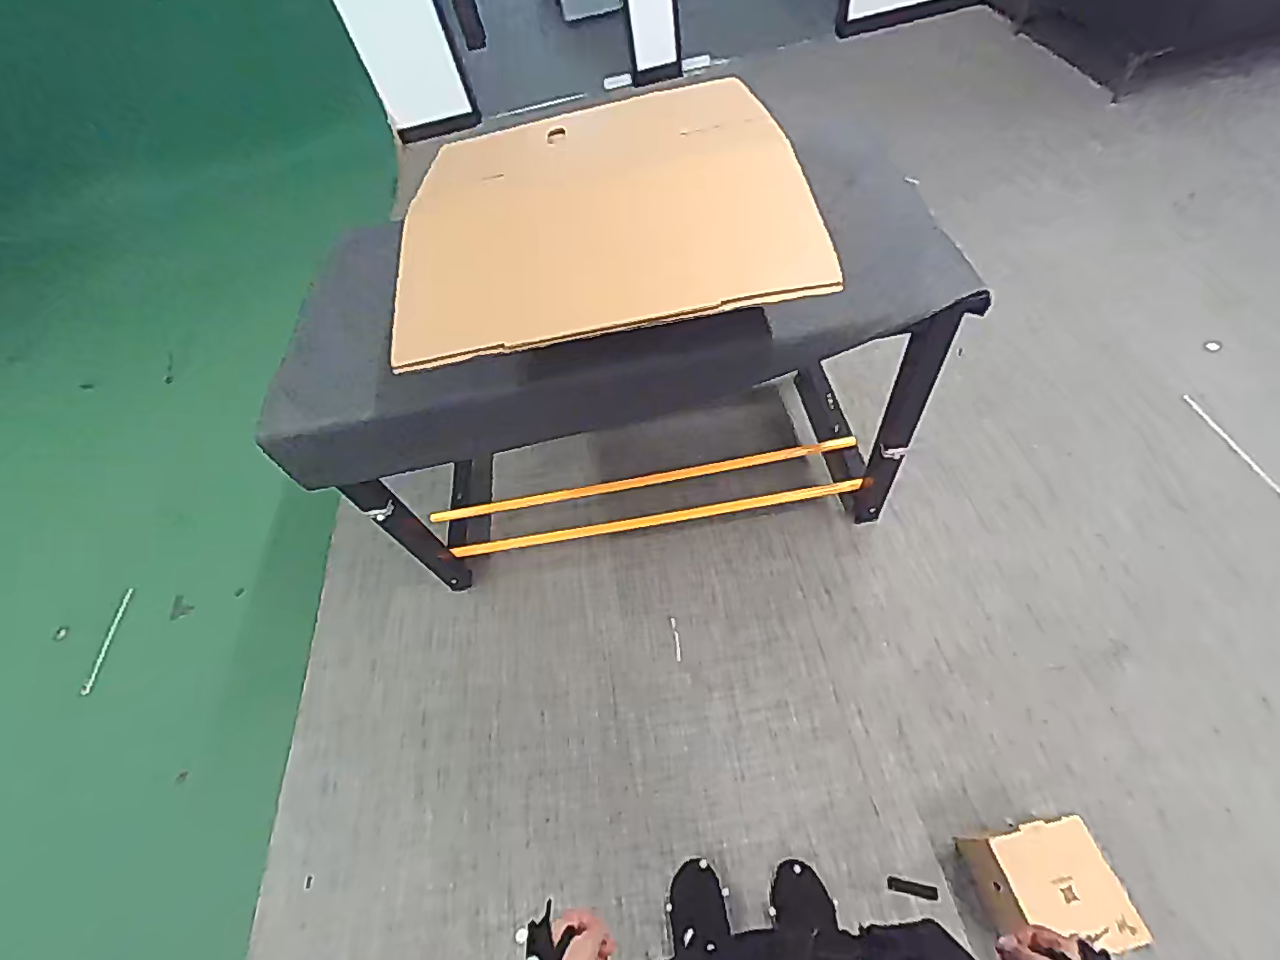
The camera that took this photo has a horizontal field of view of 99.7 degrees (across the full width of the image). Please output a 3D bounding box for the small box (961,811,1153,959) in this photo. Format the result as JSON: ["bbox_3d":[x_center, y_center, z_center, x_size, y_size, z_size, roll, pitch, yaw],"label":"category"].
[{"bbox_3d":[0.700,0.702,0.939,0.168,0.176,0.179,-16,54,0],"label":"small box"}]
